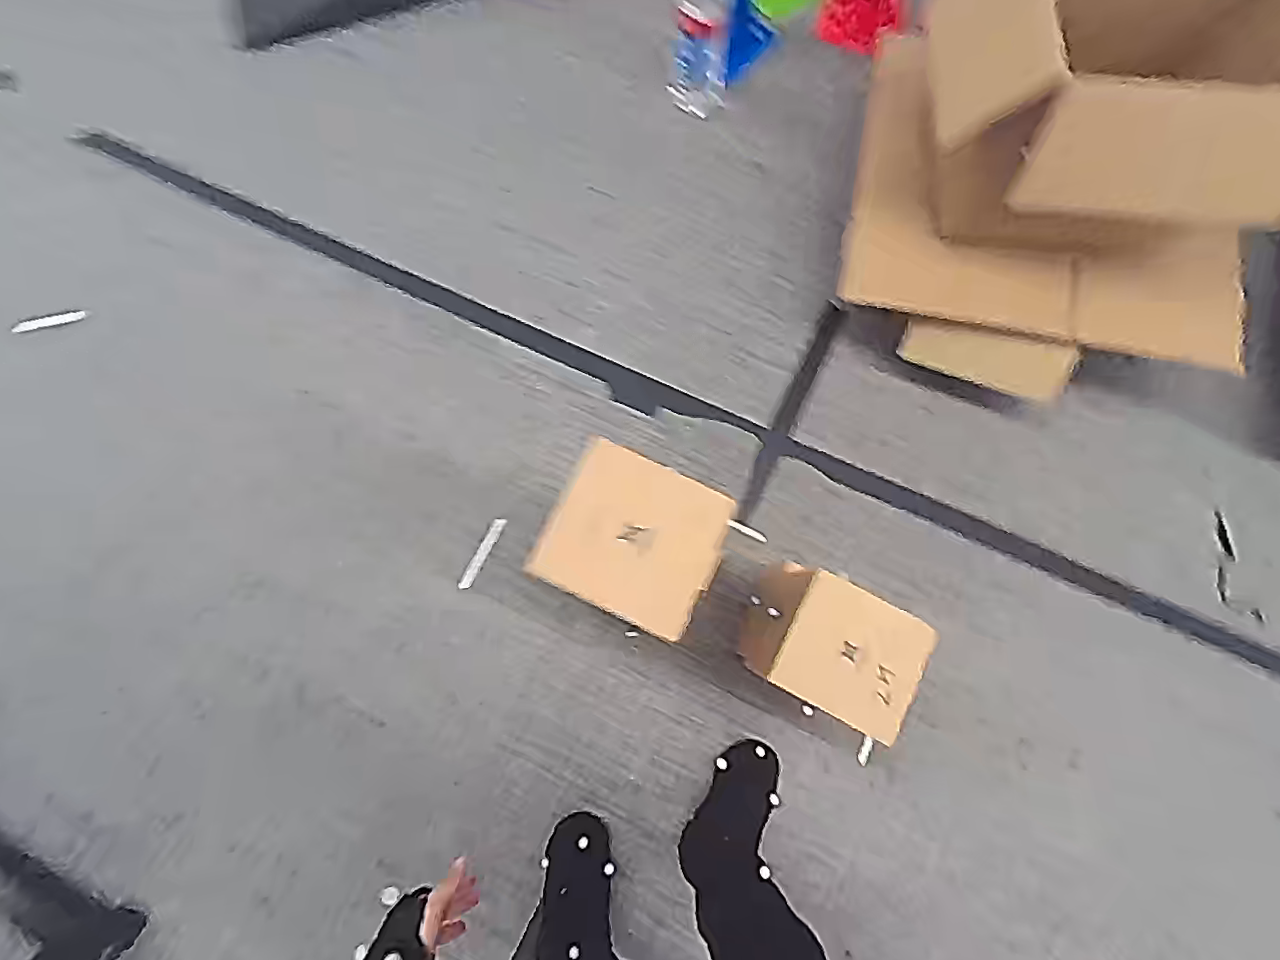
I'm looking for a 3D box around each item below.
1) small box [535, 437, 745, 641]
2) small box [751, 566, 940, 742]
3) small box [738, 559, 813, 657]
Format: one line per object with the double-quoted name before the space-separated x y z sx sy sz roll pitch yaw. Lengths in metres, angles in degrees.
"small box" 0.001 0.075 0.652 0.179 0.176 0.168 25 77 5
"small box" 0.282 0.241 0.783 0.179 0.176 0.168 29 80 5
"small box" 0.285 0.257 0.948 0.168 0.176 0.179 26 79 5
